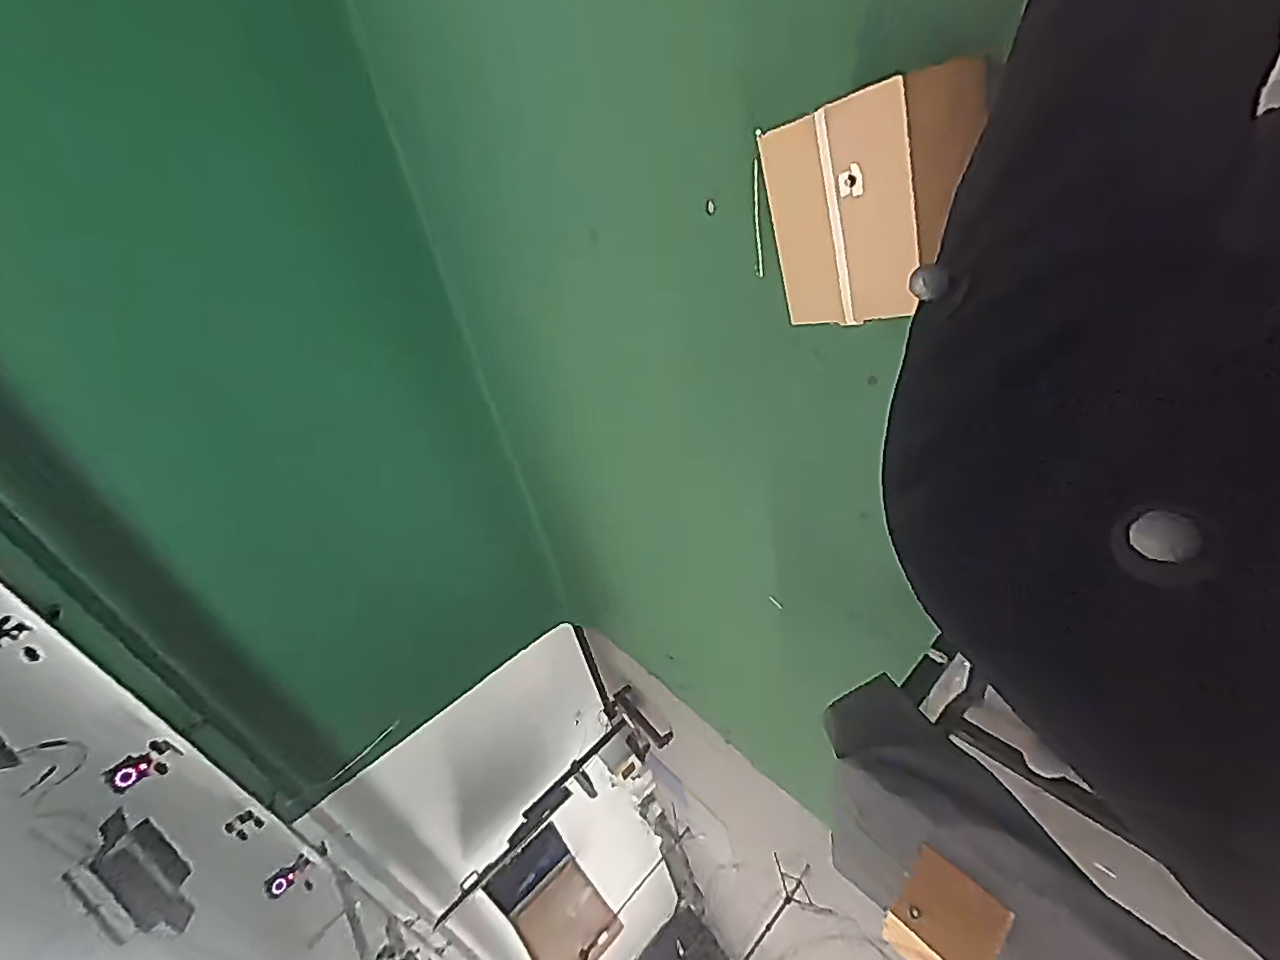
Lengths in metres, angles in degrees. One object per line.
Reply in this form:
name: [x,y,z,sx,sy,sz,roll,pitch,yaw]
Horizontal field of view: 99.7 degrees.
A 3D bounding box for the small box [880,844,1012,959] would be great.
small box: [0.628,0.908,1.115,0.179,0.176,0.168,28,142,42]
